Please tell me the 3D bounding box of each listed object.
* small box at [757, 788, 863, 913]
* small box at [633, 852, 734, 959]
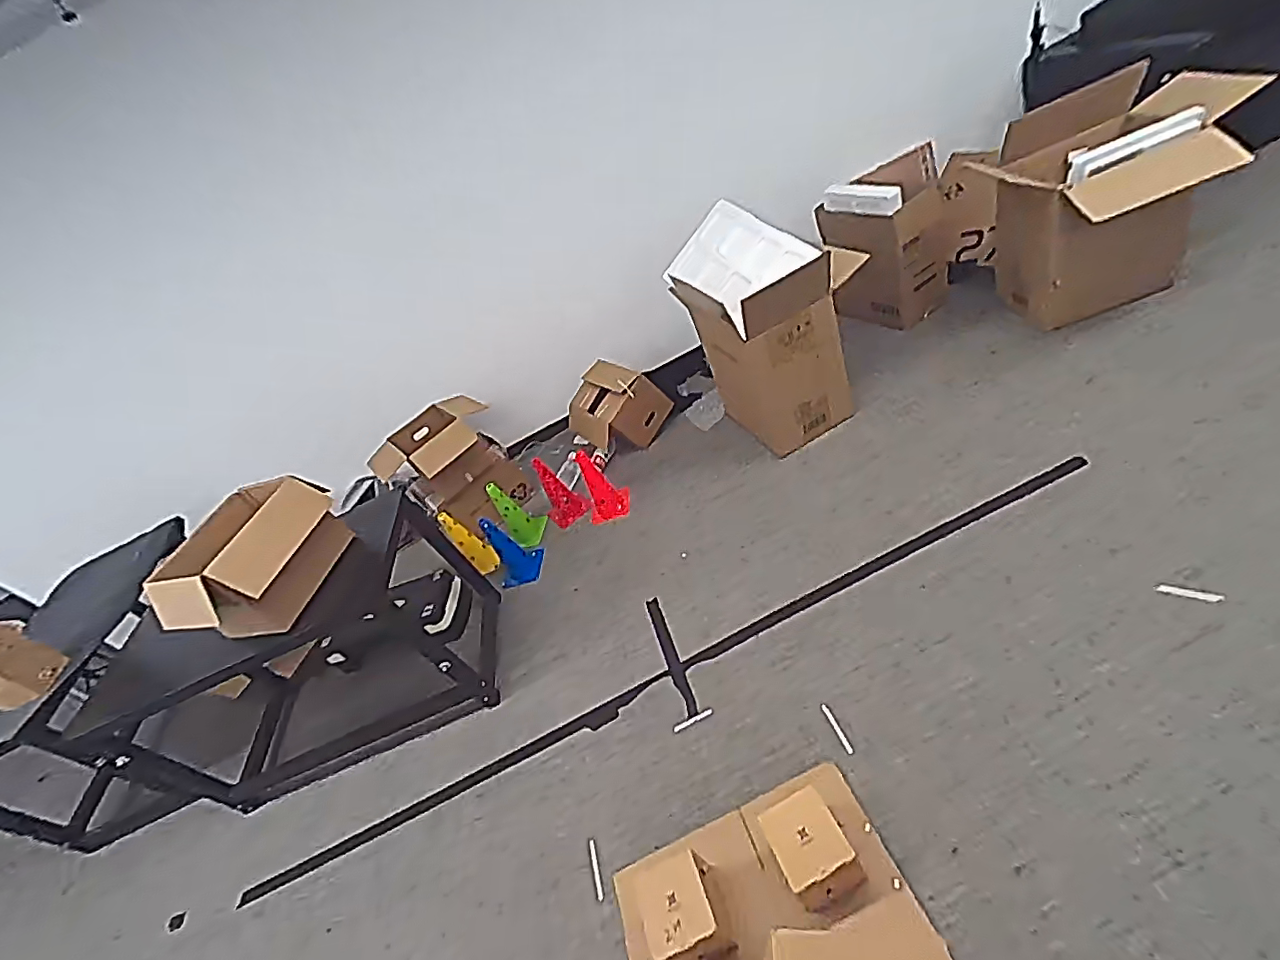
[{"bbox_3d":[0.411,0.898,1.311,0.168,0.176,0.179,-31,37,-3],"label":"small box"},{"bbox_3d":[0.106,1.055,1.310,0.168,0.176,0.179,-29,37,0],"label":"small box"}]
